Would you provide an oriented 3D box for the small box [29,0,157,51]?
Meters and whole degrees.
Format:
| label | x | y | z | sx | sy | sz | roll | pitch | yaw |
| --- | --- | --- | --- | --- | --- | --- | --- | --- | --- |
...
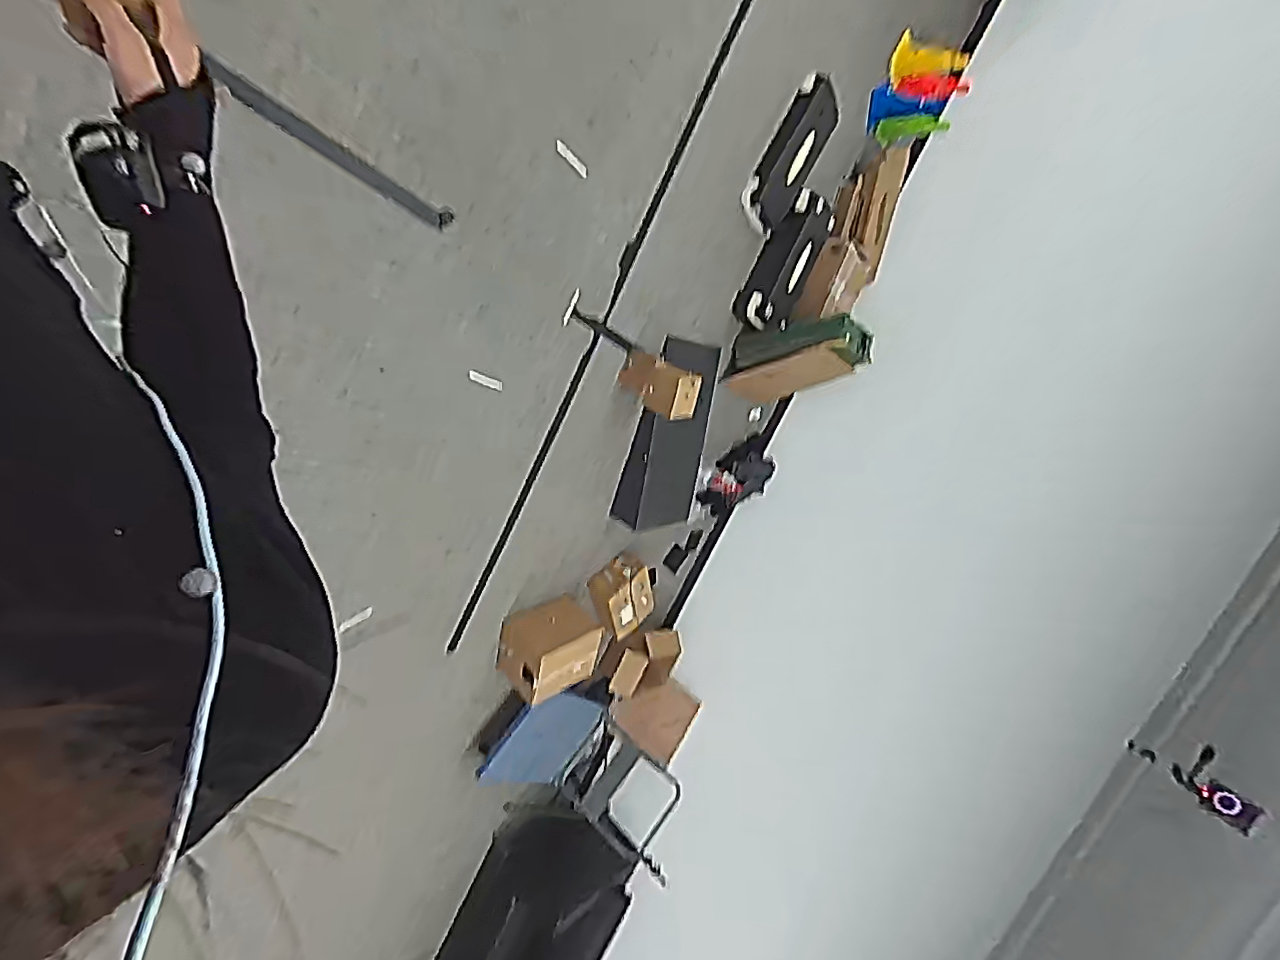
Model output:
| label | x | y | z | sx | sy | sz | roll | pitch | yaw |
| --- | --- | --- | --- | --- | --- | --- | --- | --- | --- |
| small box | -0.473 | -0.466 | 0.391 | 0.179 | 0.176 | 0.168 | 11 | 109 | -59 |
